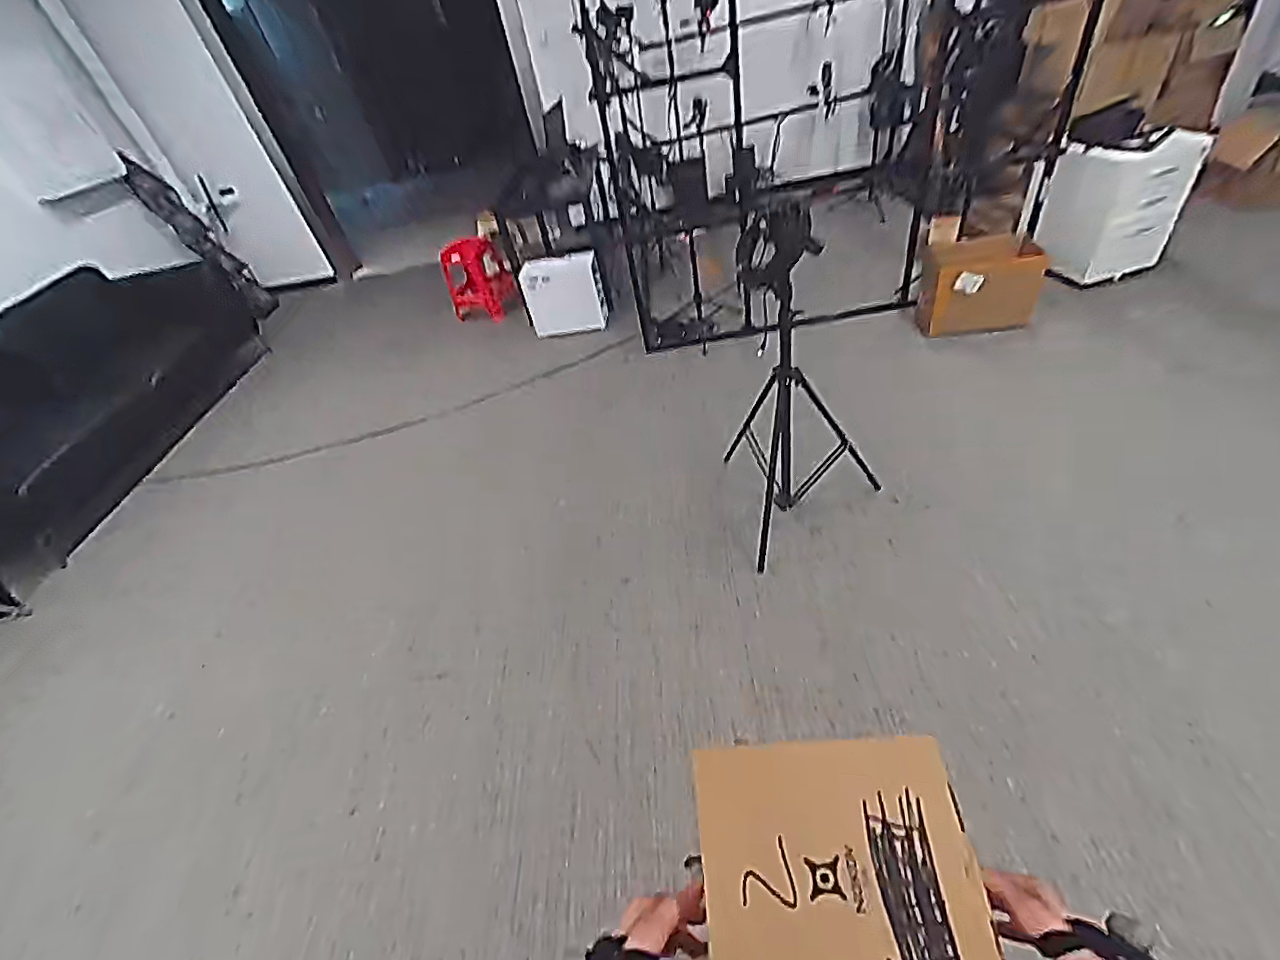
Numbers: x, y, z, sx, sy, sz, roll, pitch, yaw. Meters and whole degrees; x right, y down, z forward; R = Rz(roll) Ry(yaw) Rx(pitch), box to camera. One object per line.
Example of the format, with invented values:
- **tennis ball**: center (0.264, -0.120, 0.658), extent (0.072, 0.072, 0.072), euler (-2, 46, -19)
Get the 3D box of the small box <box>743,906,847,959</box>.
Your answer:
- **small box**: center (0.264, 0.852, 0.915), extent (0.168, 0.176, 0.179), euler (-5, 42, 10)
